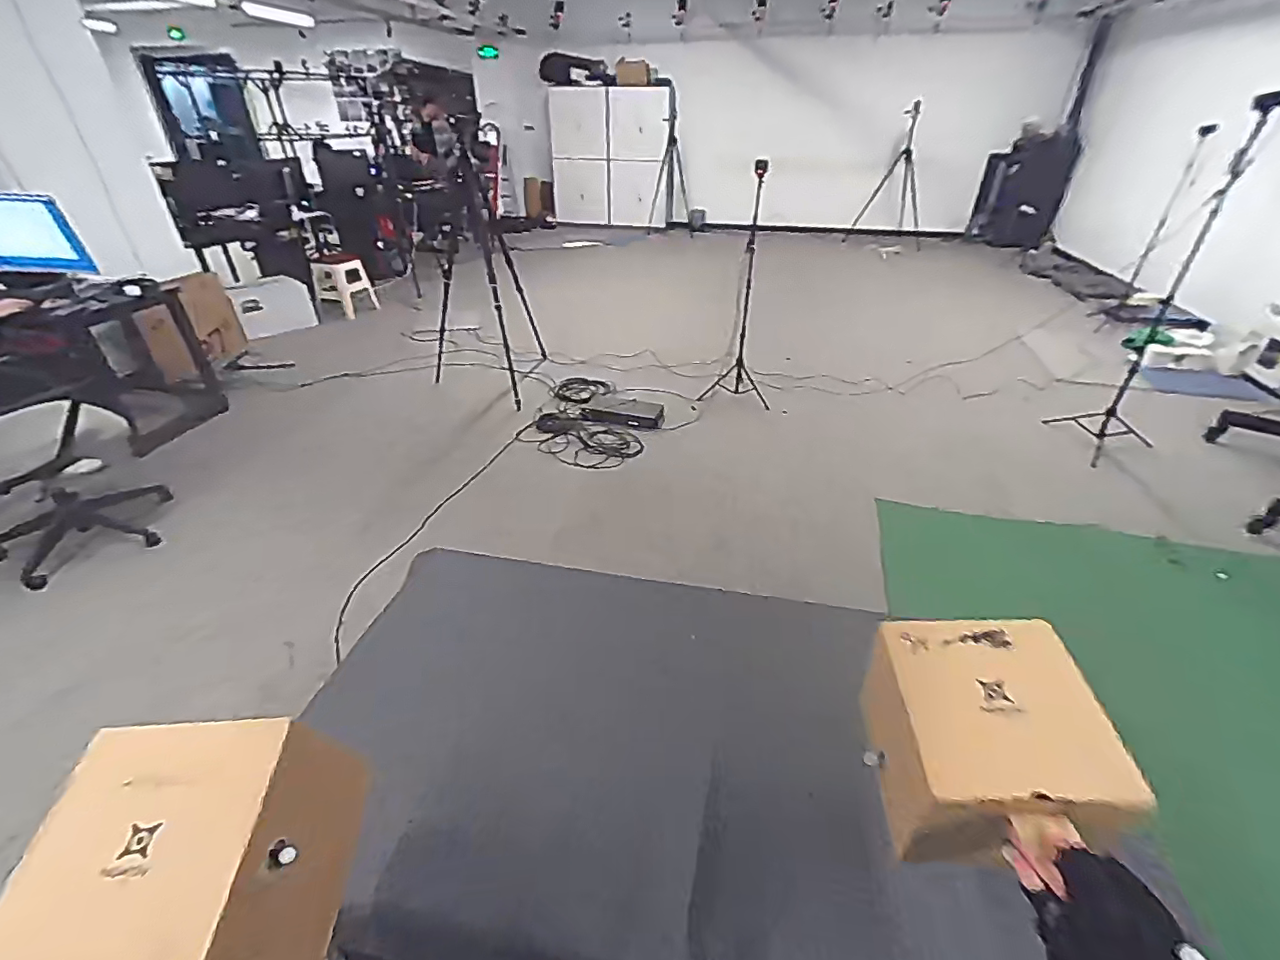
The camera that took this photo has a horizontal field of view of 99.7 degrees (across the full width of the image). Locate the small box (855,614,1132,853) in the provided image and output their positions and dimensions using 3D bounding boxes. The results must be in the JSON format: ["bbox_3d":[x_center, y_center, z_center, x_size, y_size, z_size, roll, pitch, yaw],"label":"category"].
[{"bbox_3d":[0.332,0.259,0.556,0.168,0.176,0.179,-2,41,7],"label":"small box"}]

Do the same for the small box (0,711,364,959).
[{"bbox_3d":[-0.362,0.313,0.454,0.168,0.176,0.179,-3,50,-1],"label":"small box"}]
